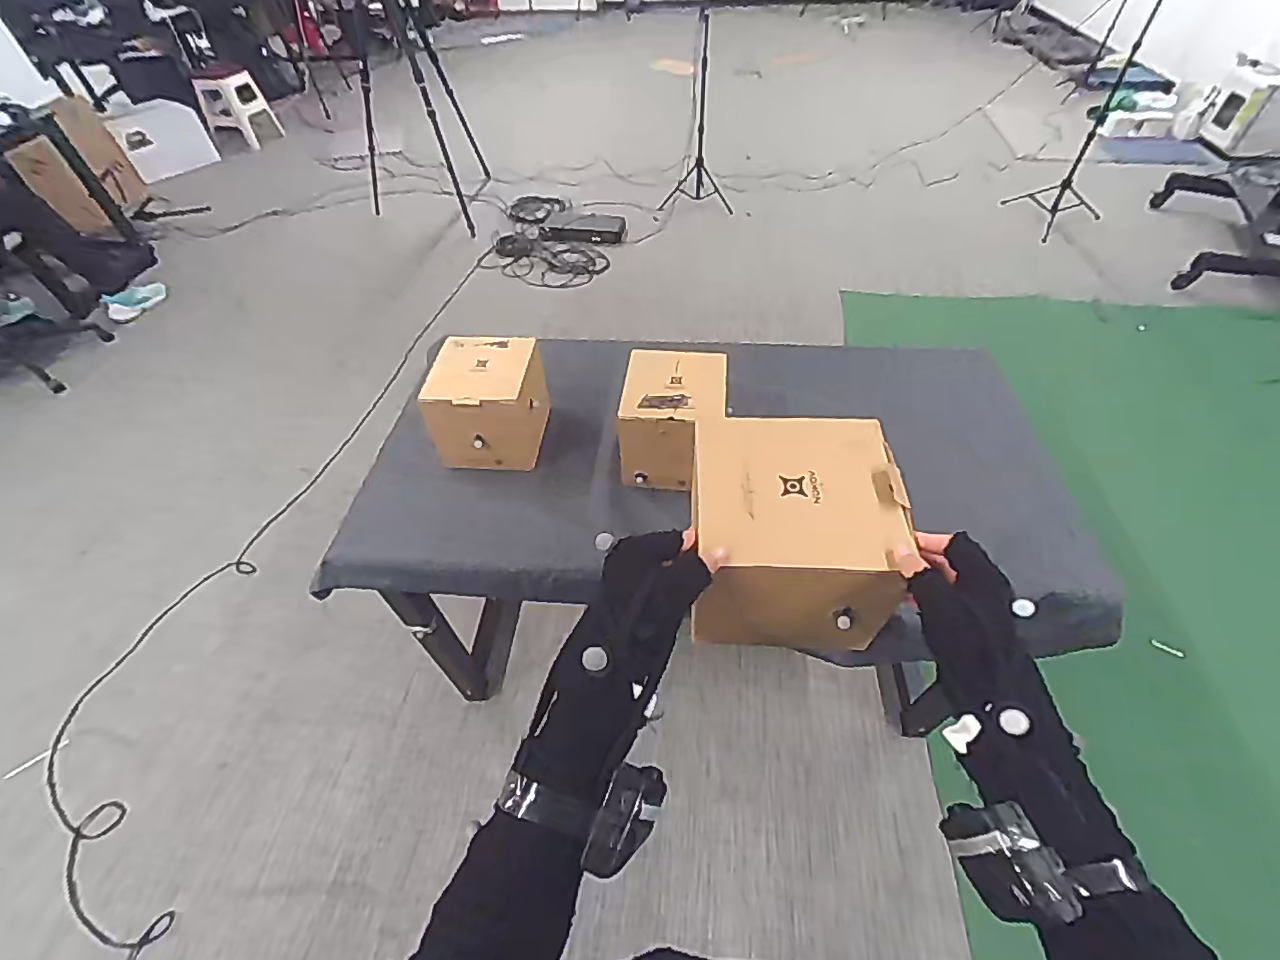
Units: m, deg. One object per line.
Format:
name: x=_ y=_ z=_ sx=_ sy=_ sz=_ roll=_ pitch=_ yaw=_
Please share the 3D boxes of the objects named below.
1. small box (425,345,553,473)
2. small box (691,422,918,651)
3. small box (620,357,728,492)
small box: x=-0.263 y=-0.127 z=0.991 sx=0.168 sy=0.176 sz=0.179 roll=2 pitch=50 yaw=4
small box: x=0.141 y=0.060 z=0.539 sx=0.179 sy=0.176 sz=0.168 roll=-1 pitch=51 yaw=5
small box: x=0.064 y=-0.094 z=0.944 sx=0.168 sy=0.176 sz=0.179 roll=4 pitch=48 yaw=7
